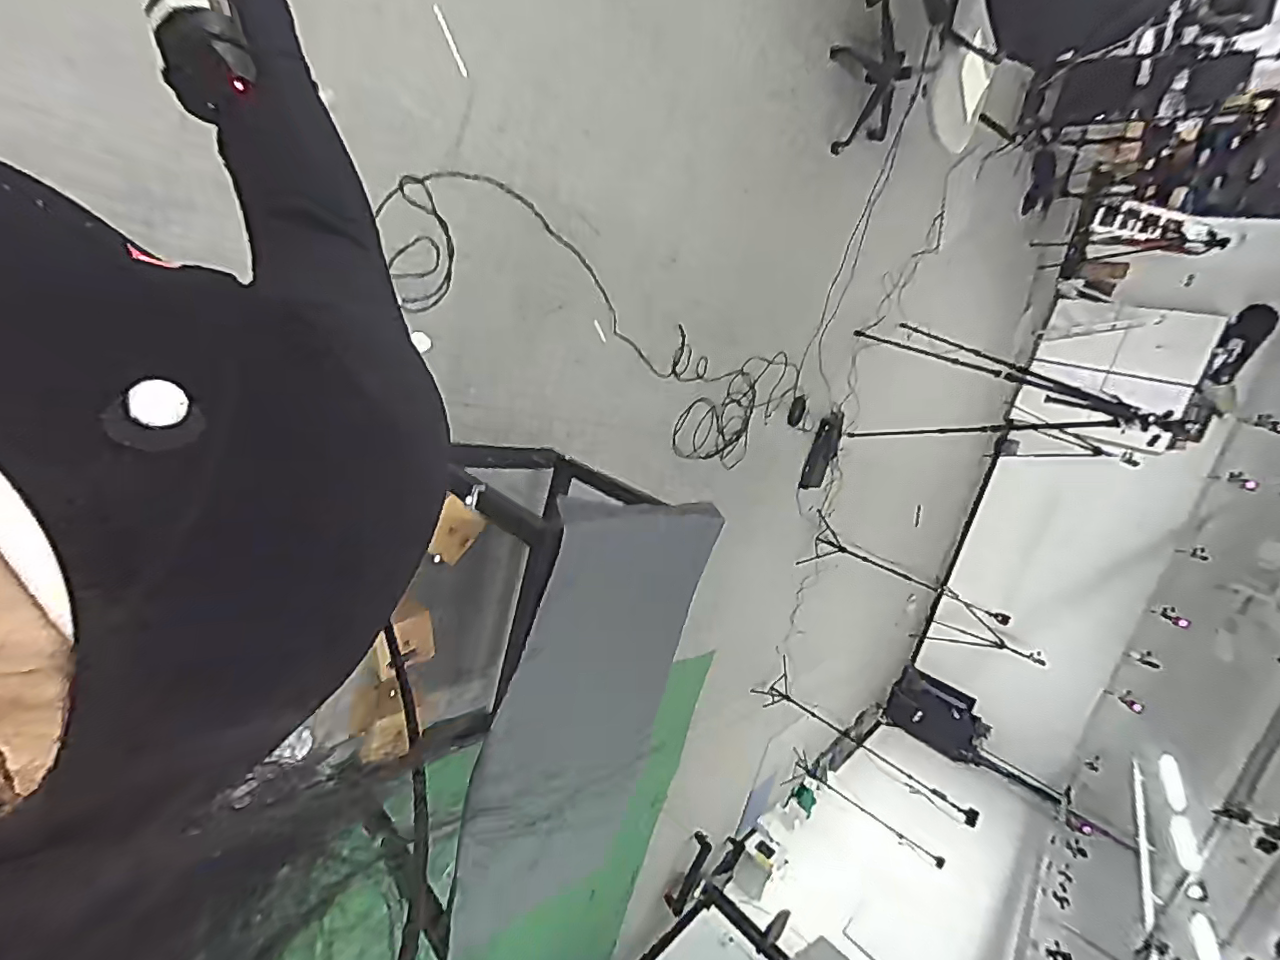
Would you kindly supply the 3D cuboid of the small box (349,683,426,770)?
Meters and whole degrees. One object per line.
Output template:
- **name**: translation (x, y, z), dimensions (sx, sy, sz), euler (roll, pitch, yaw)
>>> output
- **small box**: translation (-0.813, 0.775, 1.732), dimensions (0.168, 0.176, 0.179), euler (0, 109, -48)

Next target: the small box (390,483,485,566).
- **small box**: translation (-0.614, 0.126, 1.634), dimensions (0.168, 0.176, 0.179), euler (-54, 141, -15)
